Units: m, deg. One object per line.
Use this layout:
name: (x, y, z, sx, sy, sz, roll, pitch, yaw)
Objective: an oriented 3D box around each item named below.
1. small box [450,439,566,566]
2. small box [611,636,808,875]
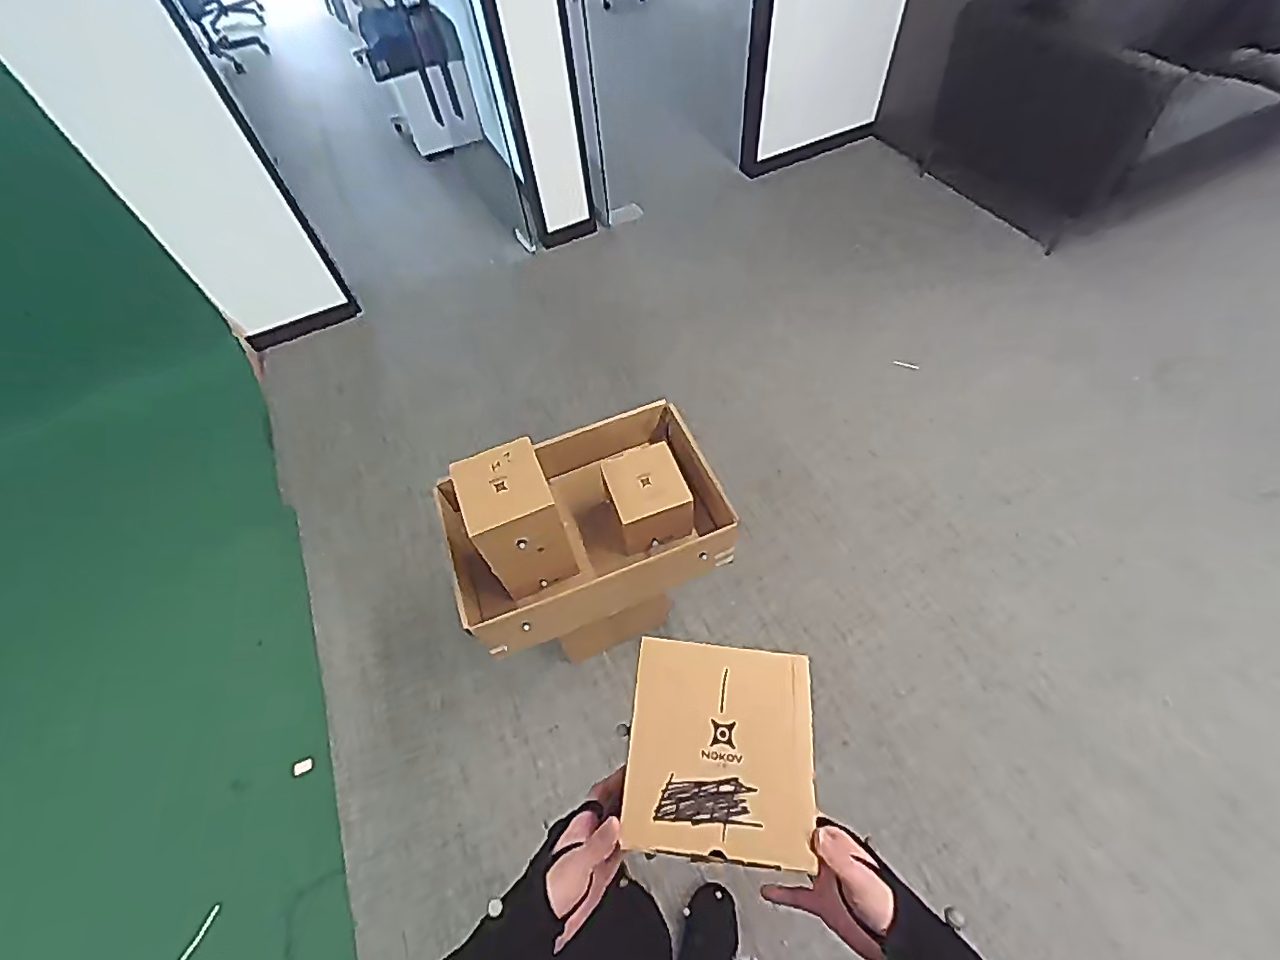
small box: (-0.260, 0.054, 1.090, 0.168, 0.176, 0.179, -21, 59, -10)
small box: (0.067, 0.277, 0.553, 0.168, 0.176, 0.179, 7, 59, 3)
